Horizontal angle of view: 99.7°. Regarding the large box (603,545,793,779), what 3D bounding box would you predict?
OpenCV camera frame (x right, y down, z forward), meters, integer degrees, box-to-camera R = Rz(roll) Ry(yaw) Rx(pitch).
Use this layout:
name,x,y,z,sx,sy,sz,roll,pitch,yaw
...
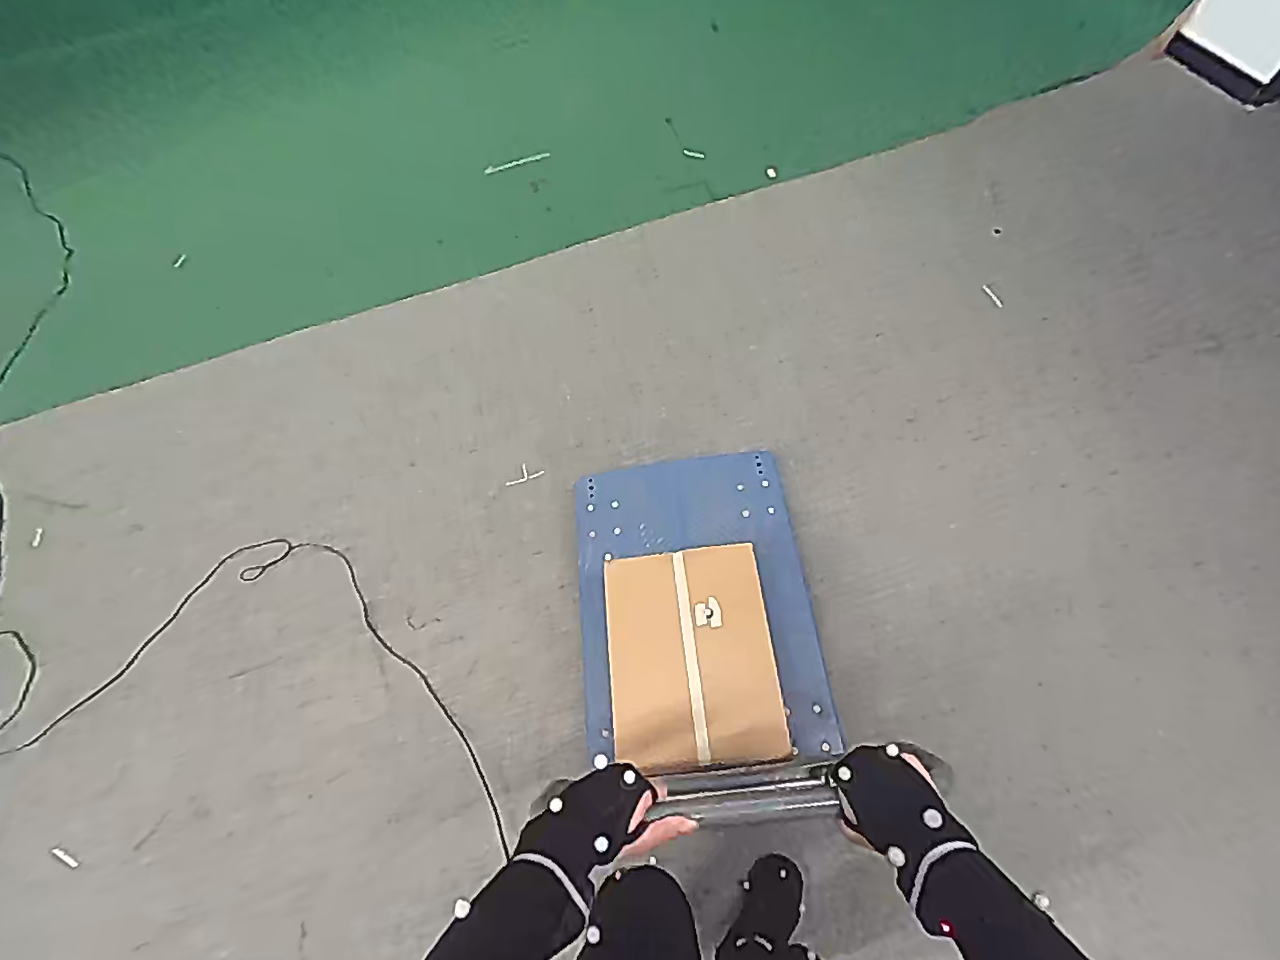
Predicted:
name,x,y,z,sx,sy,sz,roll,pitch,yaw
large box,0.112,0.399,1.170,0.320,0.320,0.408,-8,61,2
